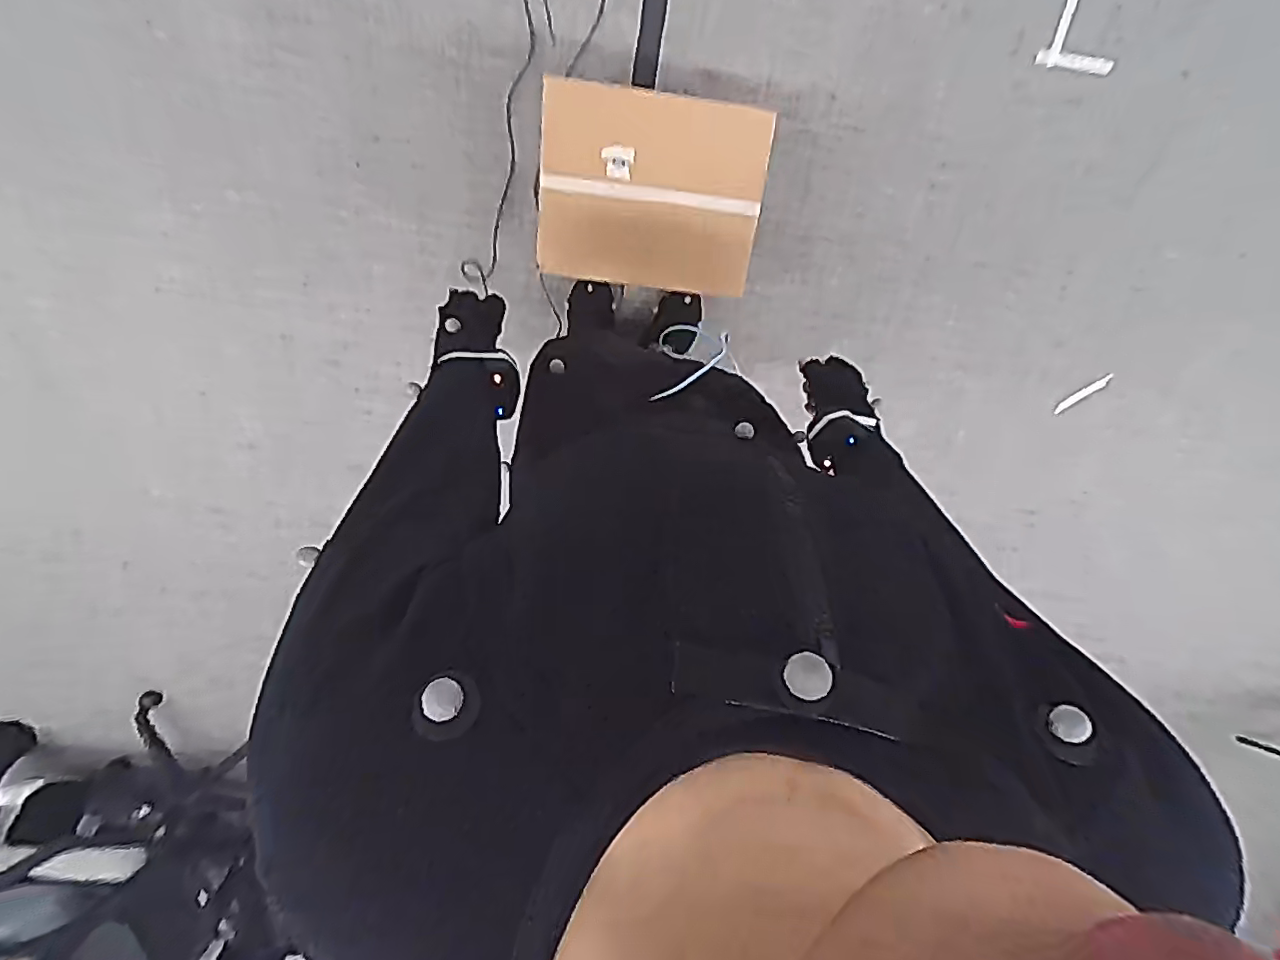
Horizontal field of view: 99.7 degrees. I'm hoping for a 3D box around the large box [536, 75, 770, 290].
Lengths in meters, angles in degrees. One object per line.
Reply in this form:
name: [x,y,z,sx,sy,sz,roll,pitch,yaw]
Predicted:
large box: [0.012,-0.592,1.119,0.408,0.320,0.320,6,114,-5]
